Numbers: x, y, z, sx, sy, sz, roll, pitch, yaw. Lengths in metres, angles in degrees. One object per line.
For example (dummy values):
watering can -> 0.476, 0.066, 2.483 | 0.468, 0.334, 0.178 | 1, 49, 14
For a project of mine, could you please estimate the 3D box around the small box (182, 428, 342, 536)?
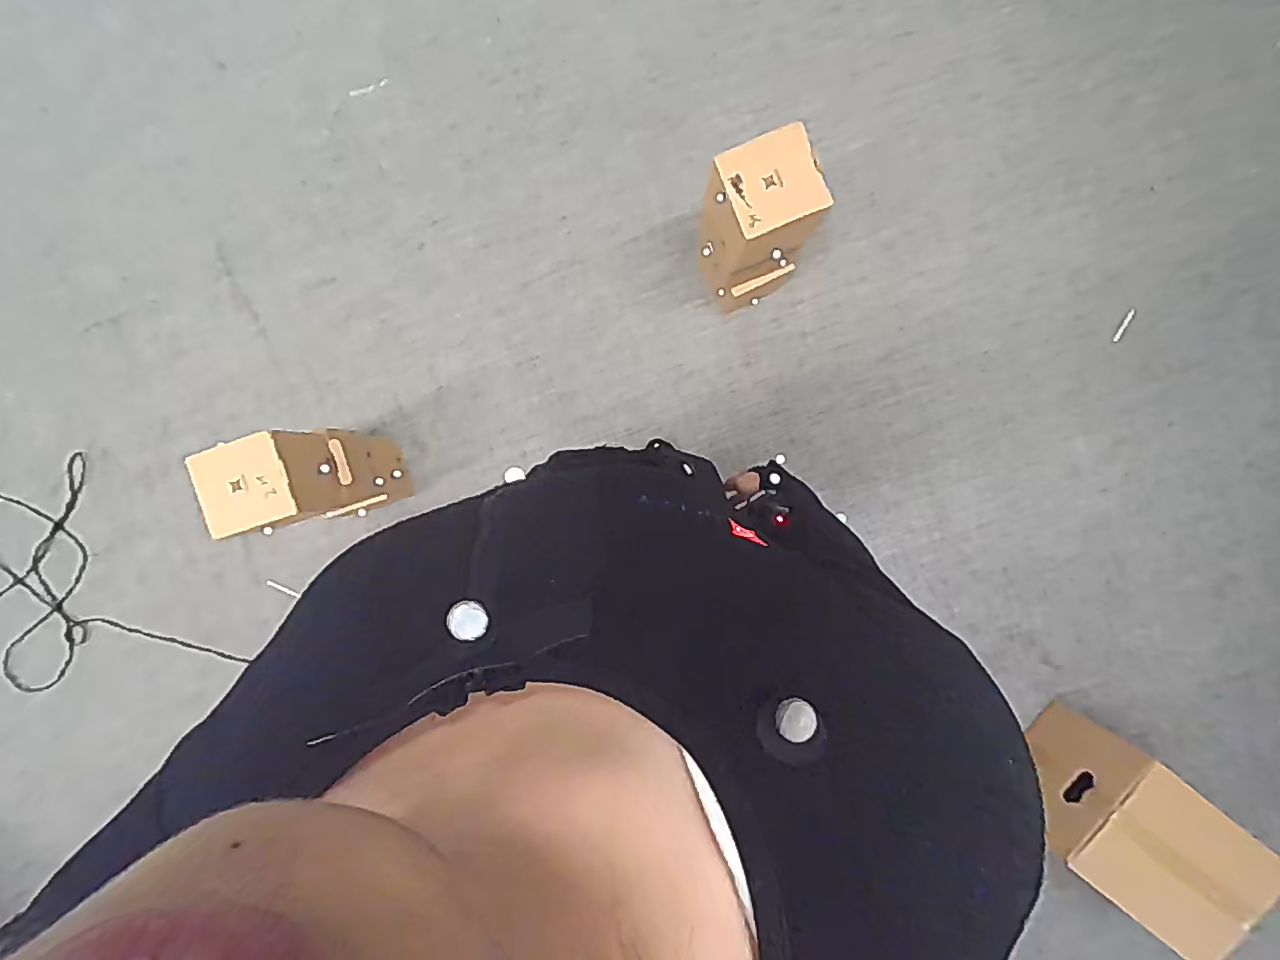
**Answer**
small box -> -0.741, 0.002, 1.079 | 0.179, 0.176, 0.168 | -18, 92, 1

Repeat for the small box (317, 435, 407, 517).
small box -> -0.733, -0.013, 1.408 | 0.179, 0.176, 0.168 | -18, 92, 1

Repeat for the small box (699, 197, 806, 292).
small box -> 0.247, -0.557, 1.231 | 0.179, 0.176, 0.168 | -21, 91, 2

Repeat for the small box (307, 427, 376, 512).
small box -> -0.739, -0.018, 1.243 | 0.179, 0.176, 0.168 | -17, 92, 2

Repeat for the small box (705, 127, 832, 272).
small box -> 0.244, -0.542, 1.068 | 0.179, 0.176, 0.168 | -22, 91, 0
